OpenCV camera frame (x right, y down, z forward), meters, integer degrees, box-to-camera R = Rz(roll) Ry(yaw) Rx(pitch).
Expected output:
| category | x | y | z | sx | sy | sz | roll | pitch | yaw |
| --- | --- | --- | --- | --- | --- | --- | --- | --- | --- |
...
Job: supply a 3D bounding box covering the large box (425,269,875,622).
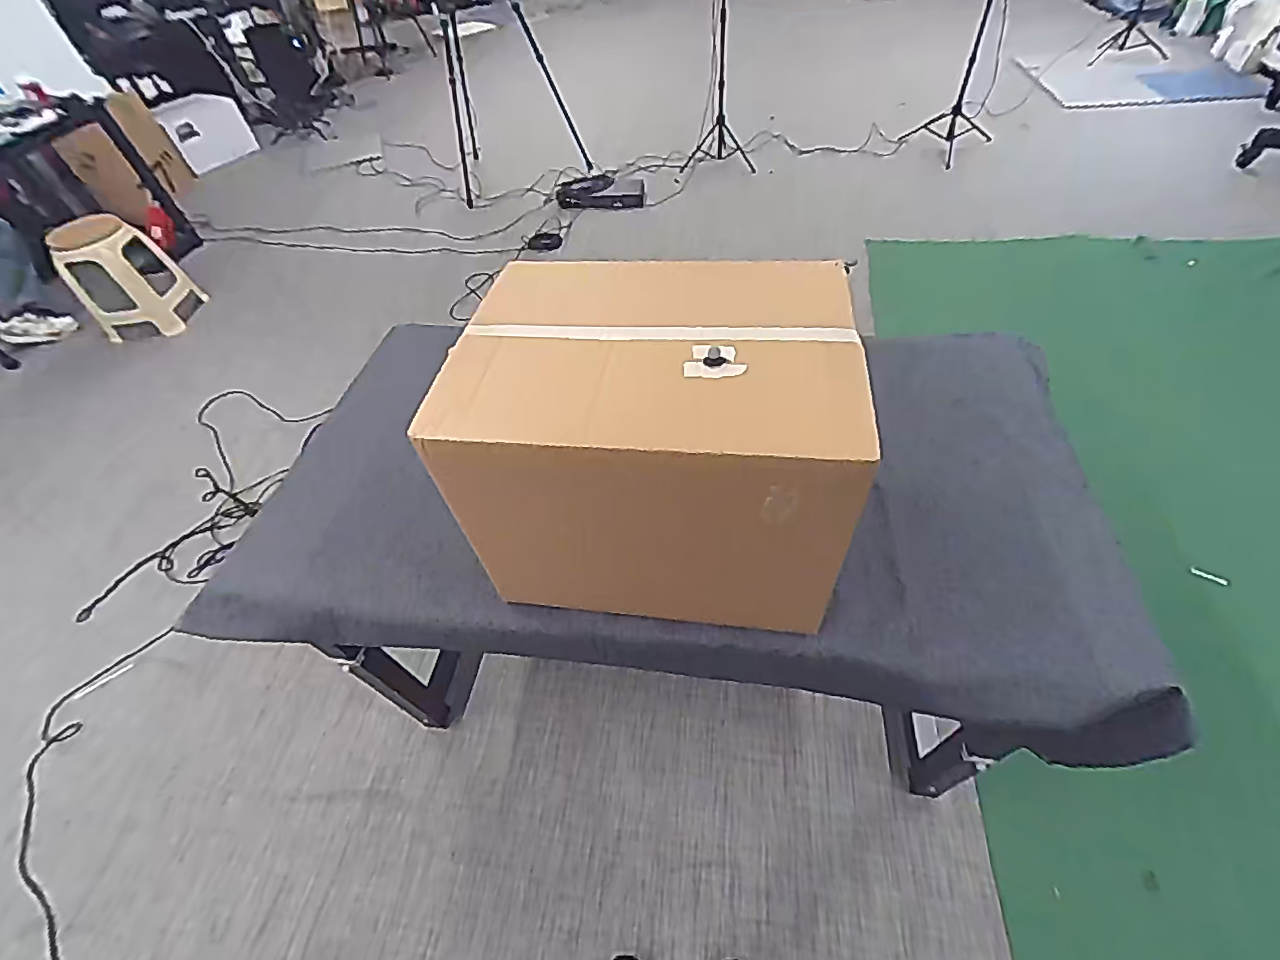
| category | x | y | z | sx | sy | sz | roll | pitch | yaw |
| --- | --- | --- | --- | --- | --- | --- | --- | --- | --- |
| large box | 0.025 | -0.045 | 0.672 | 0.408 | 0.320 | 0.320 | 4 | 50 | 8 |
